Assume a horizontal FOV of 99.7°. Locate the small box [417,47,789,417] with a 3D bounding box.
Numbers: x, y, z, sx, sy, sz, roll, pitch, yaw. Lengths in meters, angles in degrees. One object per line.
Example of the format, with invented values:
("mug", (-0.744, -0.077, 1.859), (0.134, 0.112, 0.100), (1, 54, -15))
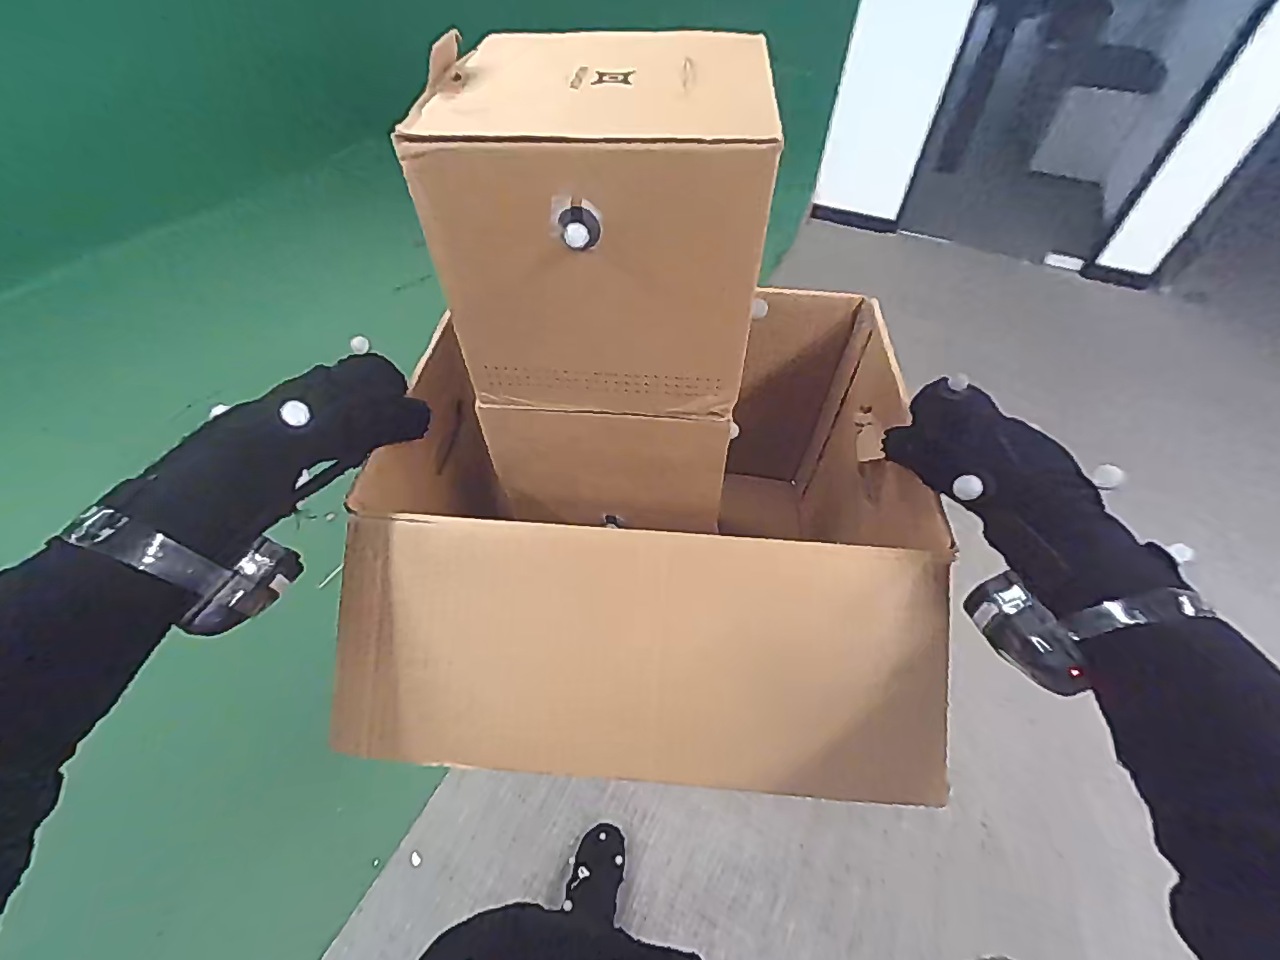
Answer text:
("small box", (-0.011, -0.158, 0.357), (0.179, 0.176, 0.168), (4, 52, 3))
